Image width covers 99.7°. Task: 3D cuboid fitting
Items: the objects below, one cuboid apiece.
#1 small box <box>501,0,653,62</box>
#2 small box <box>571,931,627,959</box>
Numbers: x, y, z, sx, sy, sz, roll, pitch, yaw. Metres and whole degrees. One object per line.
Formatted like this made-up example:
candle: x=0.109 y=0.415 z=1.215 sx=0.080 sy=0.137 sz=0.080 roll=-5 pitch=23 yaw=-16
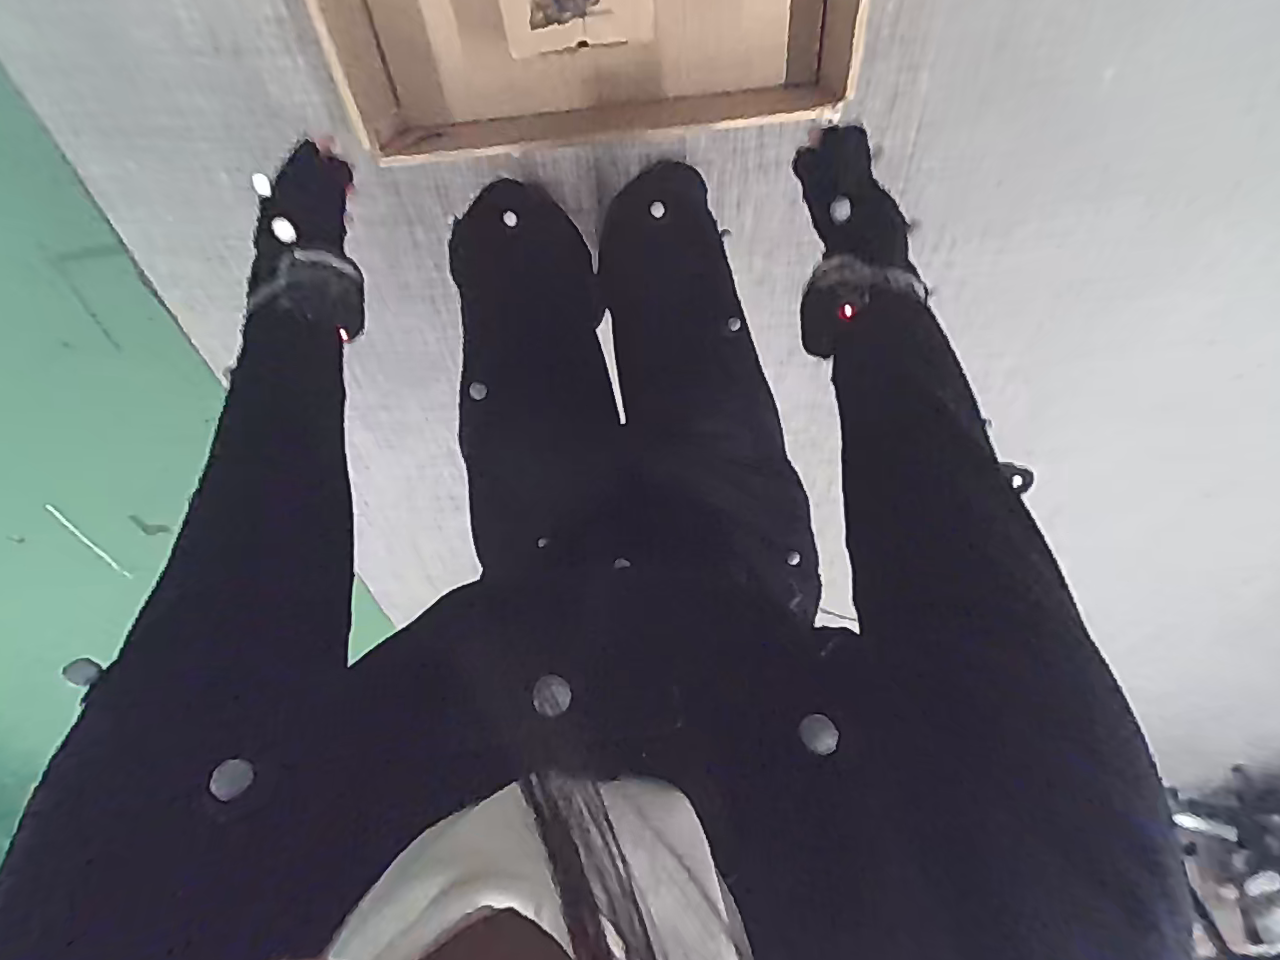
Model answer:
small box: x=-0.072 y=-0.603 z=0.614 sx=0.168 sy=0.176 sz=0.179 roll=-5 pitch=133 yaw=3
small box: x=-0.136 y=1.636 z=1.821 sx=0.179 sy=0.176 sz=0.168 roll=-4 pitch=136 yaw=4
